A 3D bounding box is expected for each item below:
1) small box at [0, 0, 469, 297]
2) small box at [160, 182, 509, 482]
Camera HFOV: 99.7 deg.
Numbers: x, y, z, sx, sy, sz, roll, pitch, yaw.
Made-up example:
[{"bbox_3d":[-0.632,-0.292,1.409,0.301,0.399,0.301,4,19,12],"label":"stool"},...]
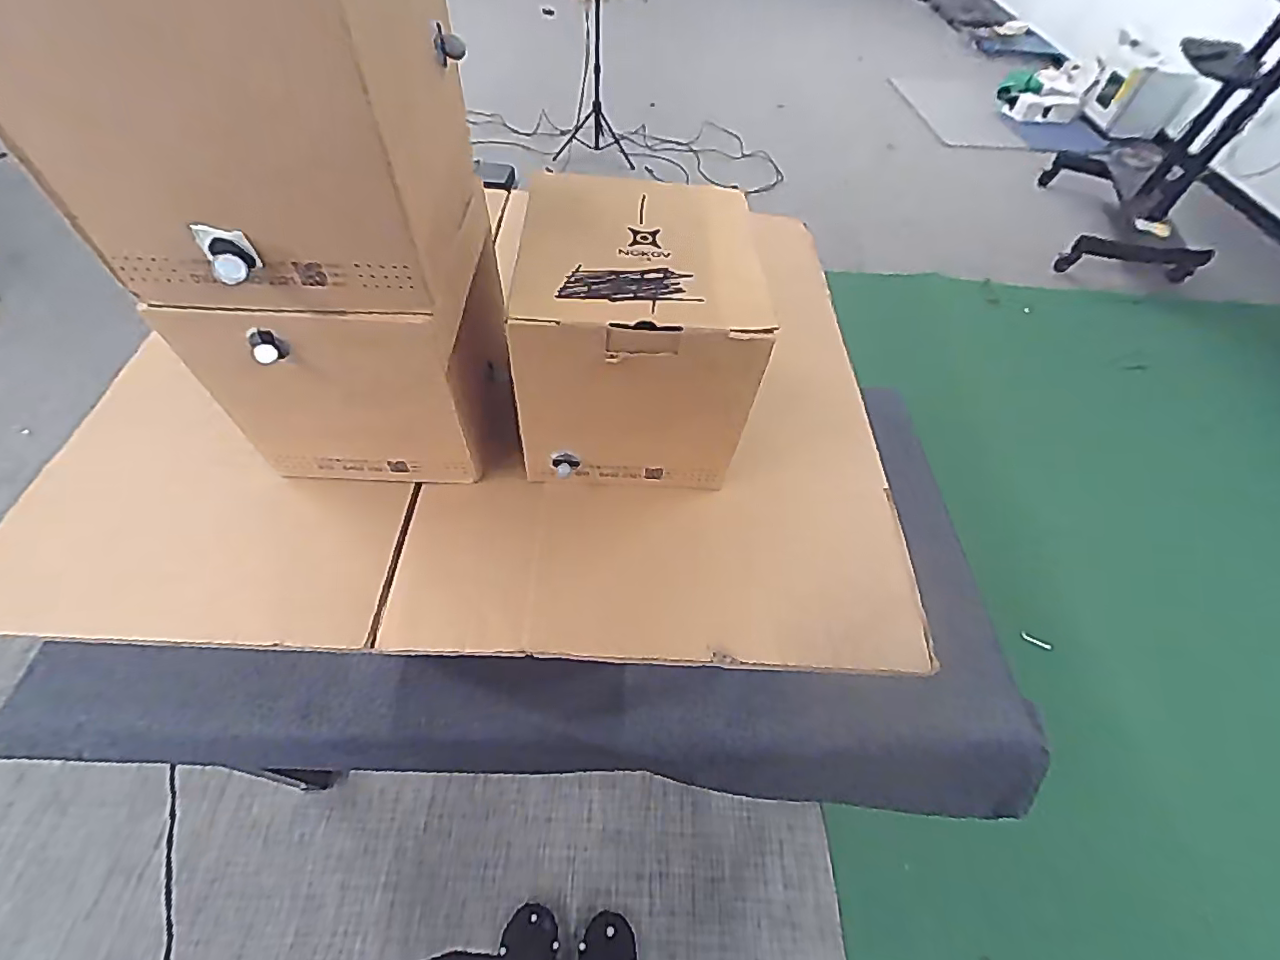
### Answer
[{"bbox_3d":[-0.198,-0.224,0.292,0.168,0.176,0.179,-1,56,-4],"label":"small box"},{"bbox_3d":[-0.207,-0.120,0.436,0.168,0.176,0.179,2,54,-1],"label":"small box"}]
